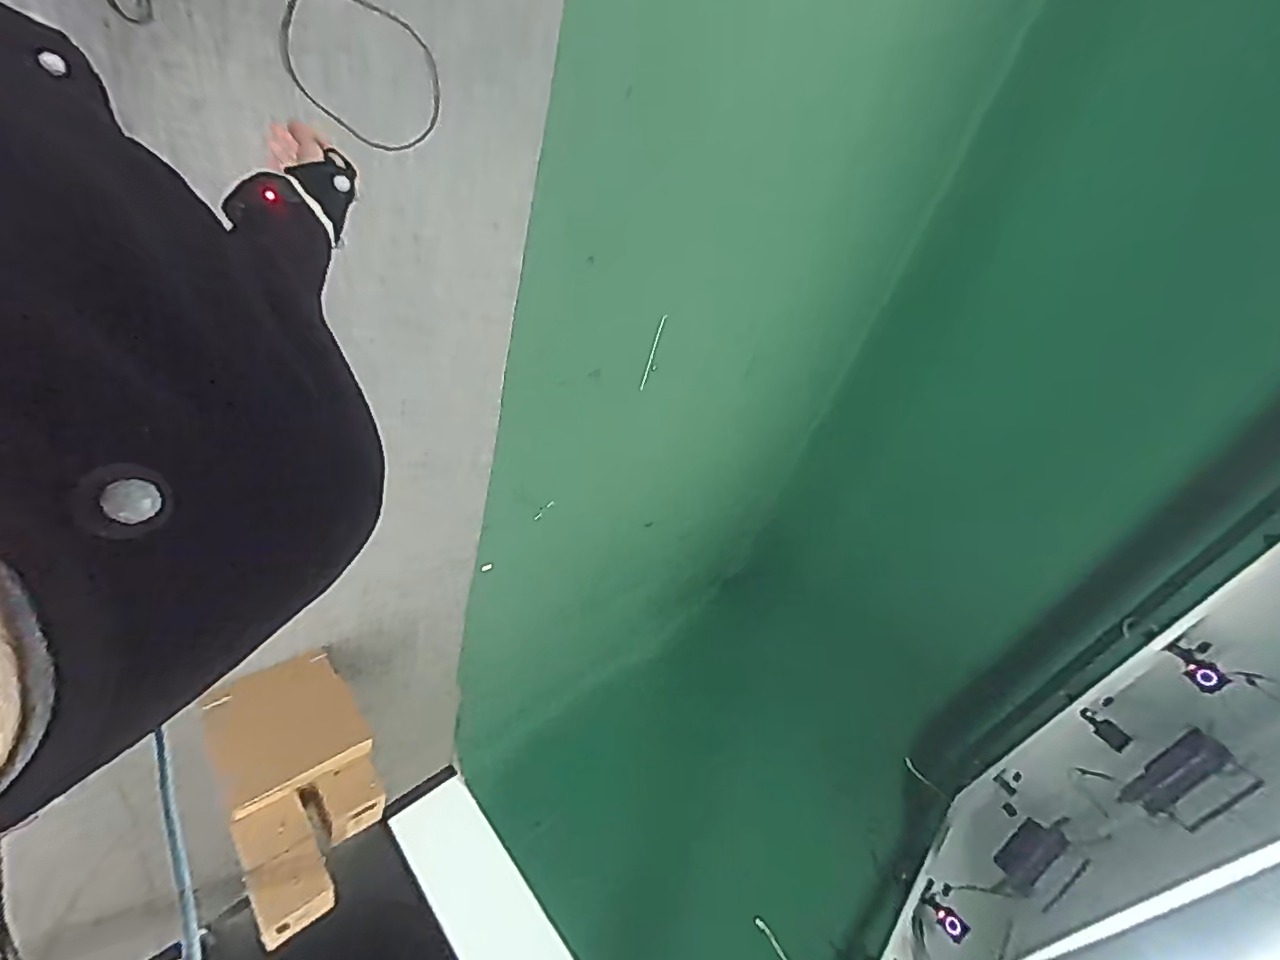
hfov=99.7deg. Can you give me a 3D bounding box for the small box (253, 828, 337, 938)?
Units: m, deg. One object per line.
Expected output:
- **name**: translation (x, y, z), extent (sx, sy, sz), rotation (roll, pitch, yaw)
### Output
- **small box**: translation (-1.037, 1.202, 1.623), extent (0.179, 0.176, 0.168), rotation (-18, 139, -45)
